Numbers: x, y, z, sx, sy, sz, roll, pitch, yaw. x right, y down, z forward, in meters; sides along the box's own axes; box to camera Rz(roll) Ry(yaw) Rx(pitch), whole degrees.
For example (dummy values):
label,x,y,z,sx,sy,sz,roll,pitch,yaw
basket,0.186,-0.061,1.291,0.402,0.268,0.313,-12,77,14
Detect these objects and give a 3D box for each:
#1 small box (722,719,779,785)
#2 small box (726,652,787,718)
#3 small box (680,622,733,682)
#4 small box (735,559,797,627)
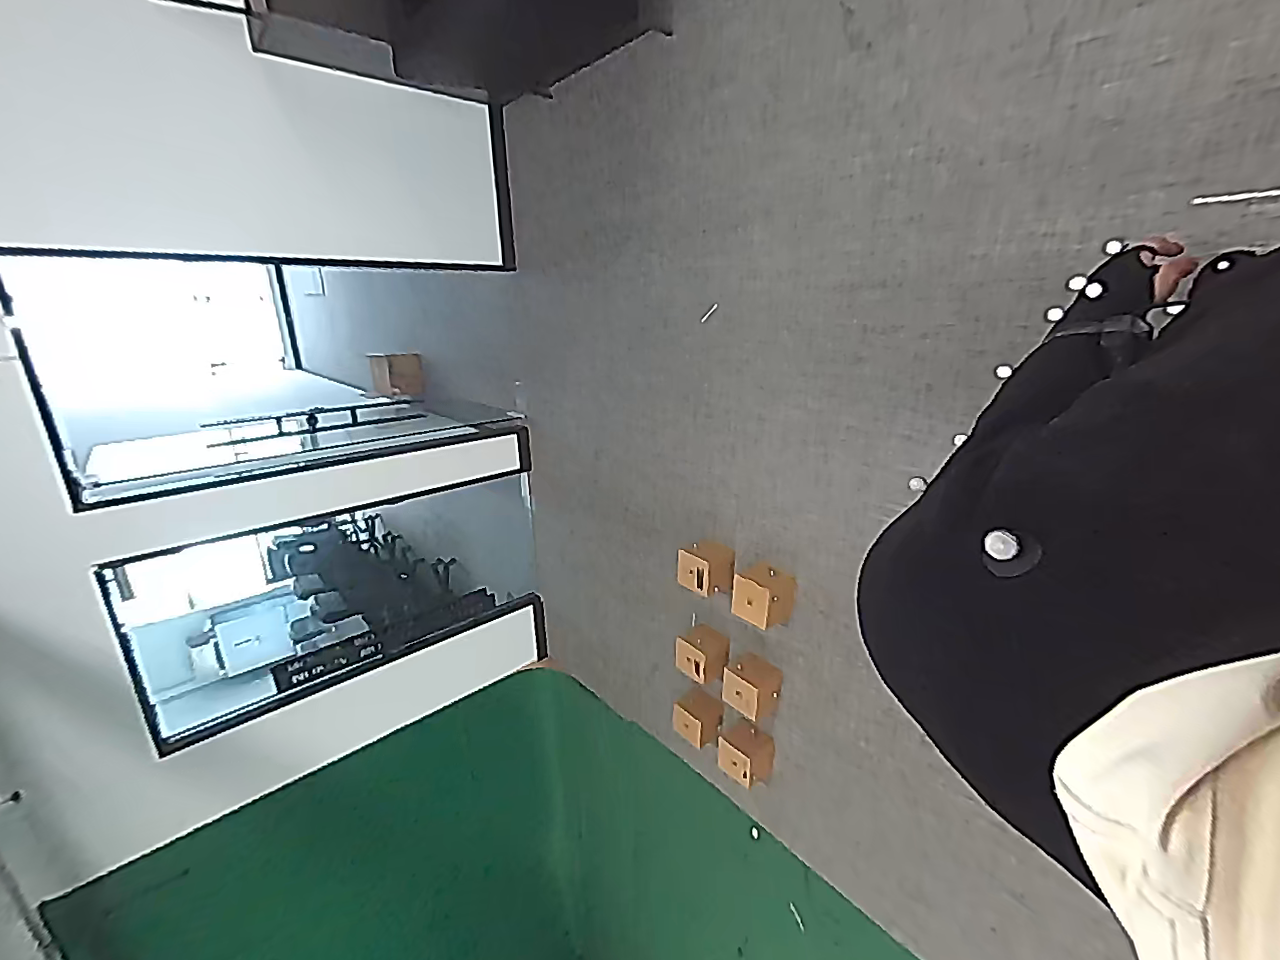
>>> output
label,x,y,z,sx,sy,sz,roll,pitch,yaw
small box,0.483,1.179,2.367,0.179,0.176,0.168,20,118,47
small box,0.483,0.841,2.249,0.179,0.176,0.168,21,119,46
small box,0.302,0.770,2.447,0.179,0.176,0.168,22,119,46
small box,0.492,0.433,2.099,0.168,0.176,0.179,22,118,45
